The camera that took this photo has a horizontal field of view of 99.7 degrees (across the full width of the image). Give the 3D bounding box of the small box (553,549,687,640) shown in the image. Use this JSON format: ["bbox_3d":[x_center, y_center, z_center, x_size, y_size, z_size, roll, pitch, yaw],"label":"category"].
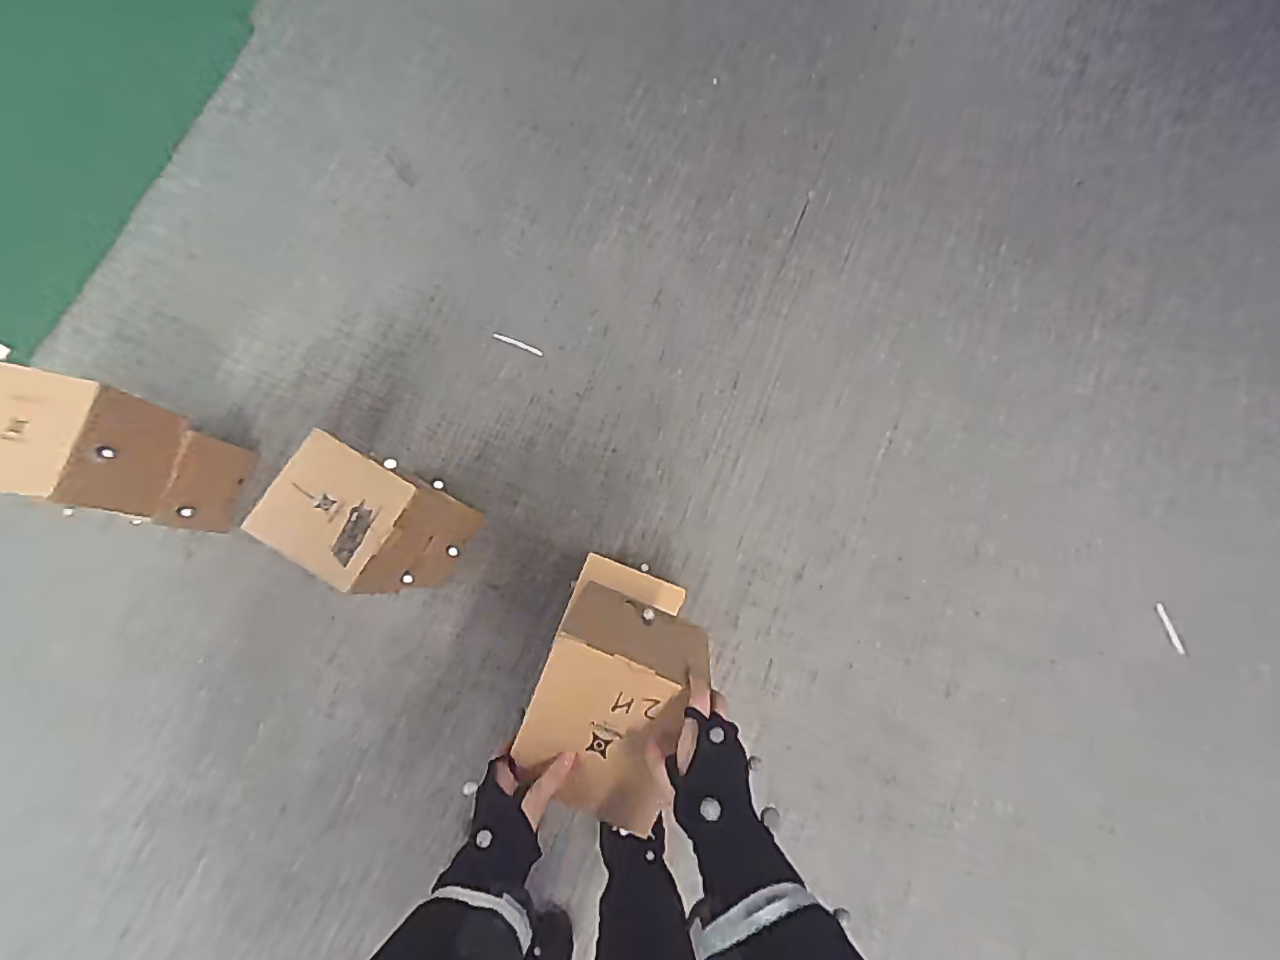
[{"bbox_3d":[-0.034,0.234,0.955,0.179,0.176,0.168,21,79,2],"label":"small box"}]

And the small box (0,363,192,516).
[{"bbox_3d":[-0.841,-0.050,0.820,0.168,0.176,0.179,12,78,0],"label":"small box"}]

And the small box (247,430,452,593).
[{"bbox_3d":[-0.415,0.053,0.810,0.179,0.176,0.168,30,80,5],"label":"small box"}]

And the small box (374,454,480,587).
[{"bbox_3d":[-0.415,0.078,0.973,0.179,0.176,0.168,29,79,4],"label":"small box"}]

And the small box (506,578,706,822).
[{"bbox_3d":[-0.030,0.243,0.639,0.168,0.176,0.179,23,98,1],"label":"small box"}]
